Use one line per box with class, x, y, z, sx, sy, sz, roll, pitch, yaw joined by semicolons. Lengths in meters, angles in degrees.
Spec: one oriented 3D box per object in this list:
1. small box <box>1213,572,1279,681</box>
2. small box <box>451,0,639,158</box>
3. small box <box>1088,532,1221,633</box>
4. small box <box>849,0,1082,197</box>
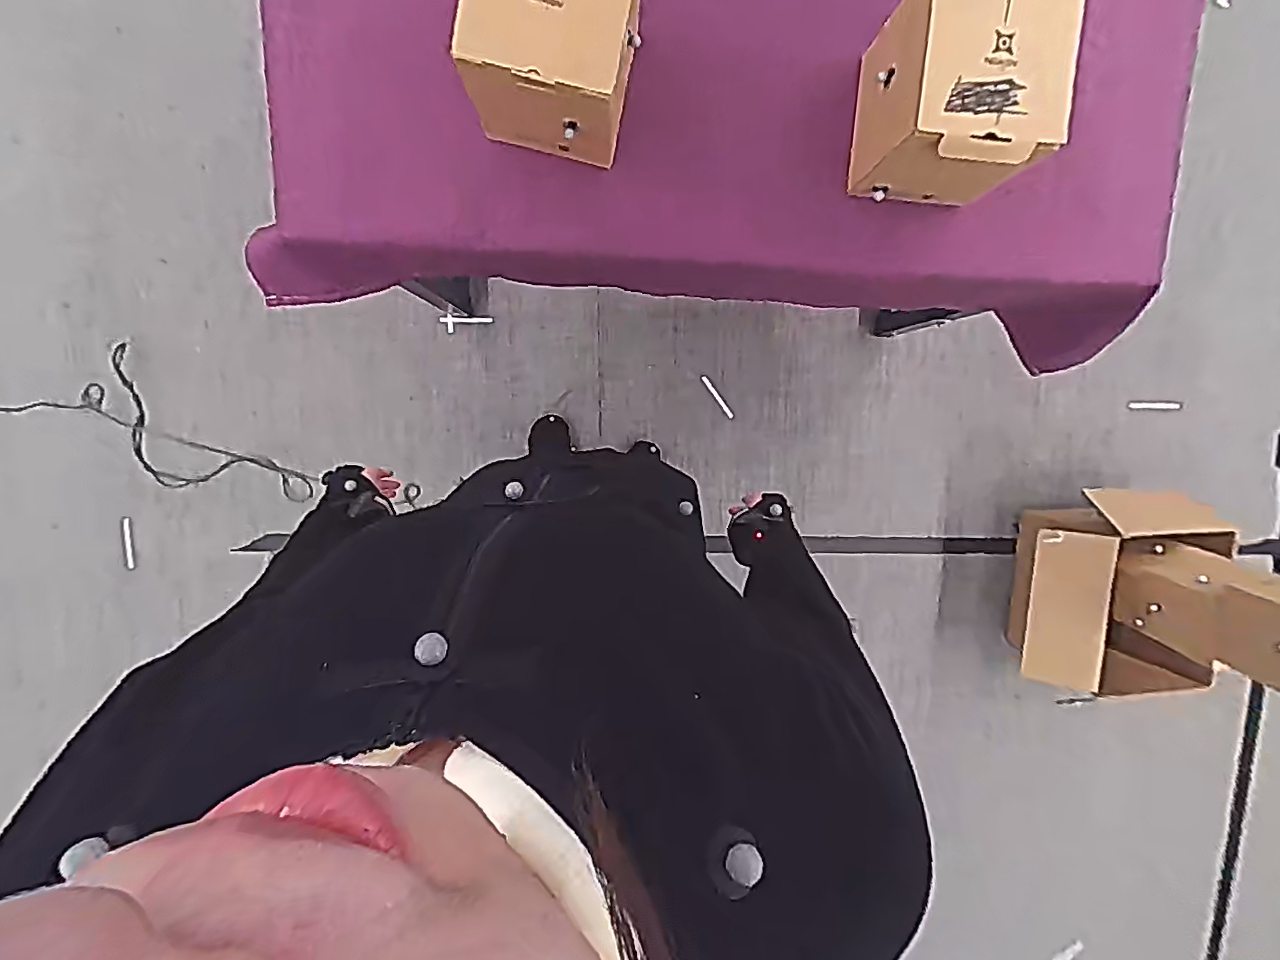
small box;1.247;0.280;1.016;0.168;0.176;0.179;-6;102;2
small box;-0.096;-0.501;0.609;0.168;0.176;0.179;12;97;-6
small box;1.267;0.244;1.344;0.168;0.176;0.179;-20;102;3
small box;0.366;-0.459;0.640;0.168;0.176;0.179;4;97;-4
